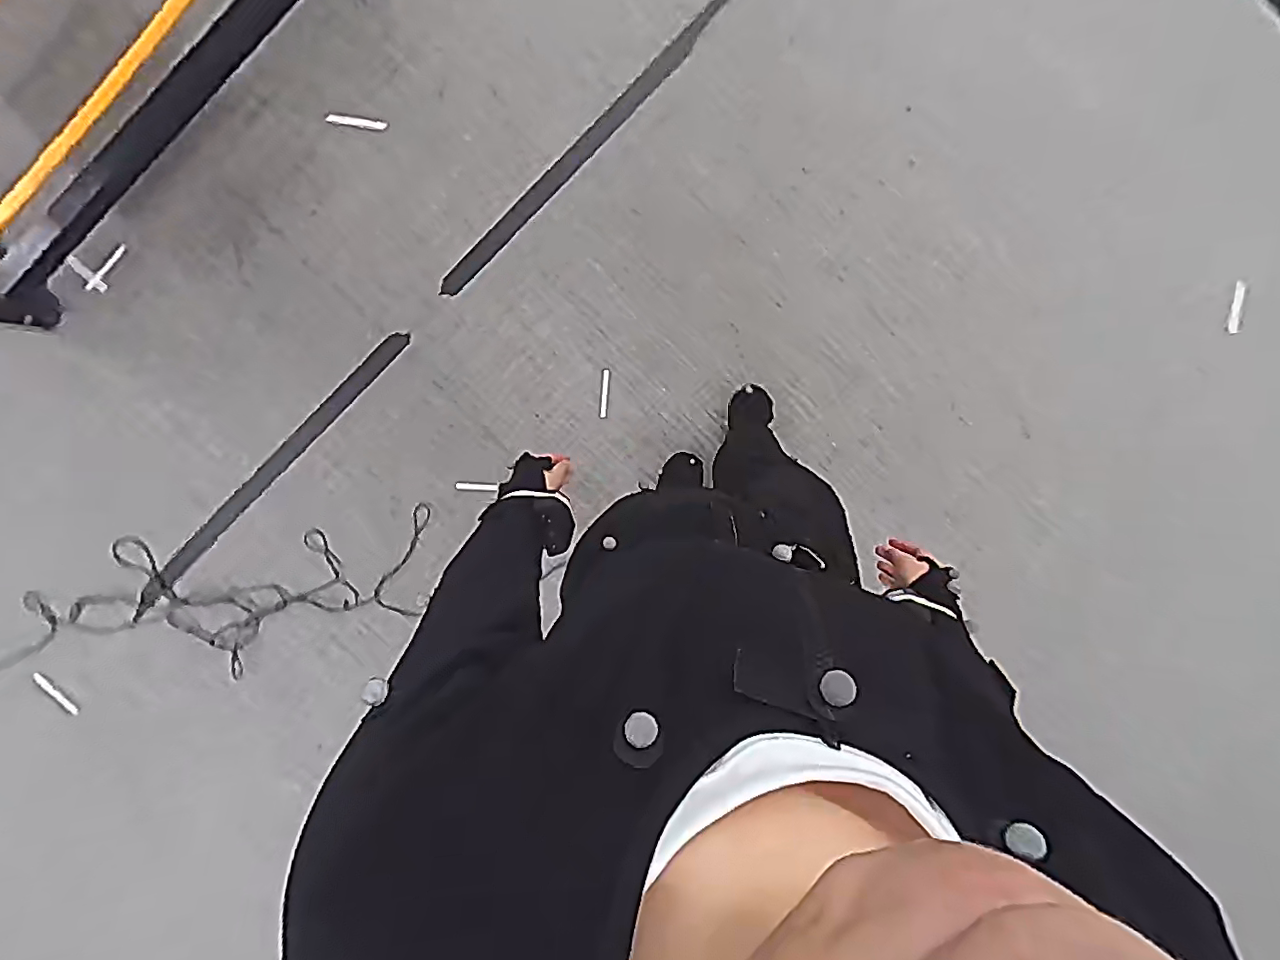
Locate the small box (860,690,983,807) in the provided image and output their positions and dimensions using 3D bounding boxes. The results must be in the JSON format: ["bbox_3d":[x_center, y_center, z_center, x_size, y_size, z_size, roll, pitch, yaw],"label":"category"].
[{"bbox_3d":[0.702,0.677,1.359,0.179,0.176,0.168,-44,95,3],"label":"small box"}]

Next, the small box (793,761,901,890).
[{"bbox_3d":[0.514,0.871,1.379,0.168,0.176,0.179,40,93,-4],"label":"small box"}]
